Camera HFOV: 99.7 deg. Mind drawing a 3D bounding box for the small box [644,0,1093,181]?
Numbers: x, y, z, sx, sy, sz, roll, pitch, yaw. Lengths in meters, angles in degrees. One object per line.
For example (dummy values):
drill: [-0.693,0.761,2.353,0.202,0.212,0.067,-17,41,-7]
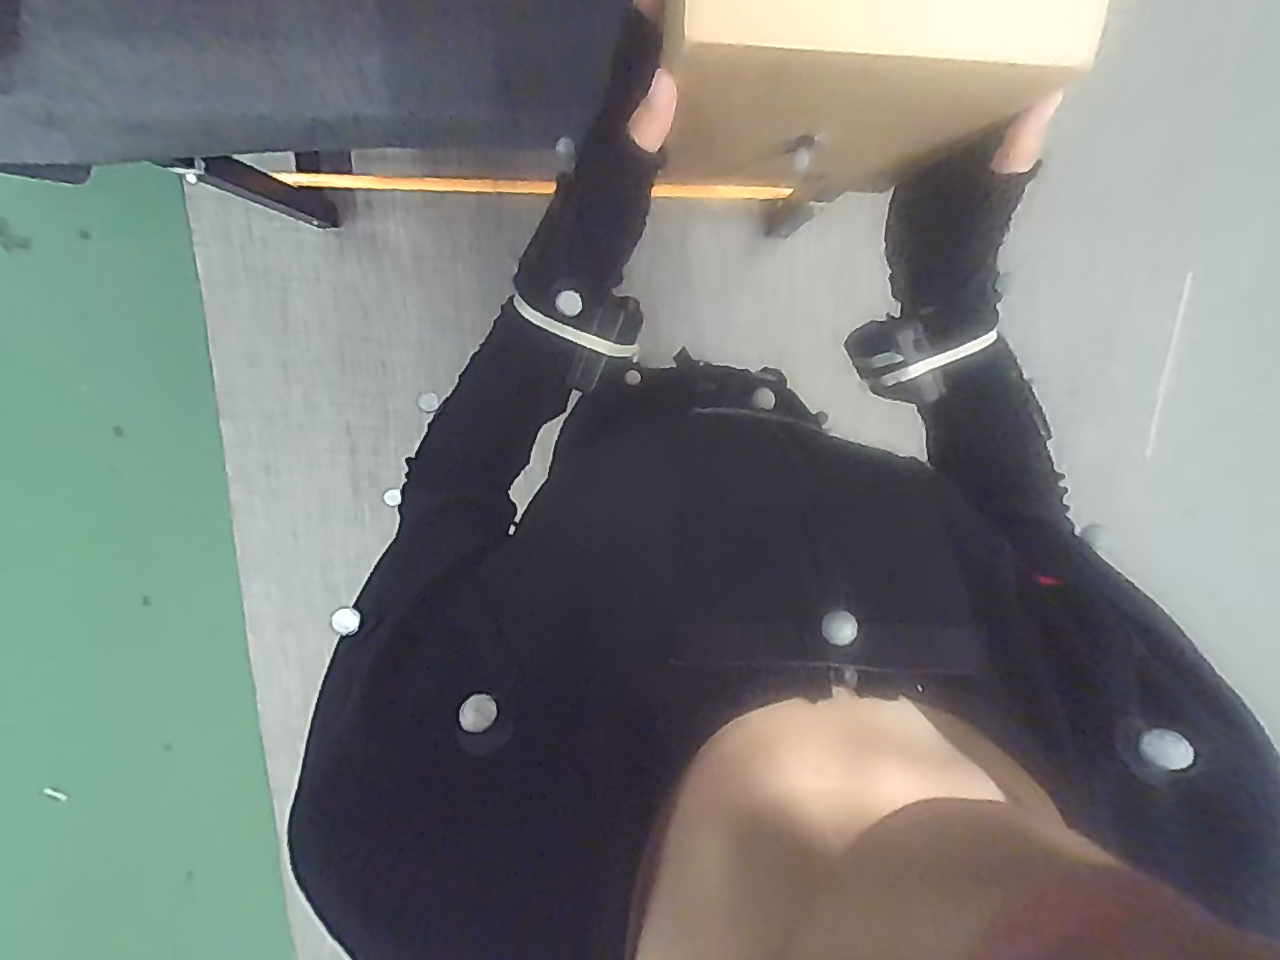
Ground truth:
small box: [0.091,-0.268,0.267,0.168,0.176,0.179,1,102,-4]
